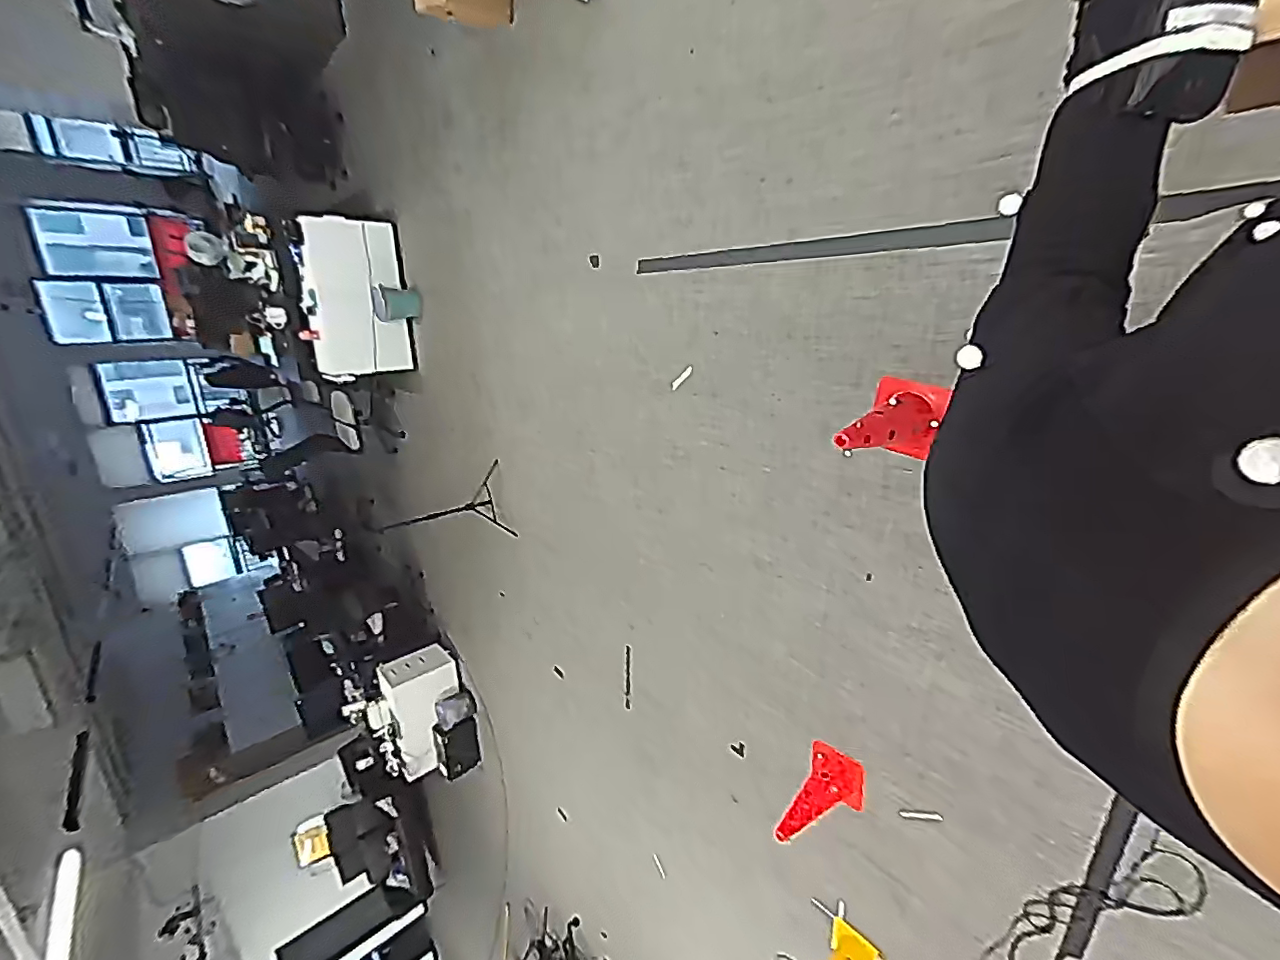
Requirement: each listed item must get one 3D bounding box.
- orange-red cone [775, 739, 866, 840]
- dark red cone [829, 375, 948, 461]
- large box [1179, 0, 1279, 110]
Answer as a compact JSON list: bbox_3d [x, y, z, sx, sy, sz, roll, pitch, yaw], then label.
[{"bbox_3d":[0.574,1.079,1.810,0.198,0.360,0.199,16,116,48],"label":"orange-red cone"},{"bbox_3d":[0.583,-0.134,1.342,0.201,0.394,0.202,25,121,42],"label":"dark red cone"},{"bbox_3d":[0.594,-0.436,0.268,0.408,0.320,0.320,18,120,46],"label":"large box"}]
